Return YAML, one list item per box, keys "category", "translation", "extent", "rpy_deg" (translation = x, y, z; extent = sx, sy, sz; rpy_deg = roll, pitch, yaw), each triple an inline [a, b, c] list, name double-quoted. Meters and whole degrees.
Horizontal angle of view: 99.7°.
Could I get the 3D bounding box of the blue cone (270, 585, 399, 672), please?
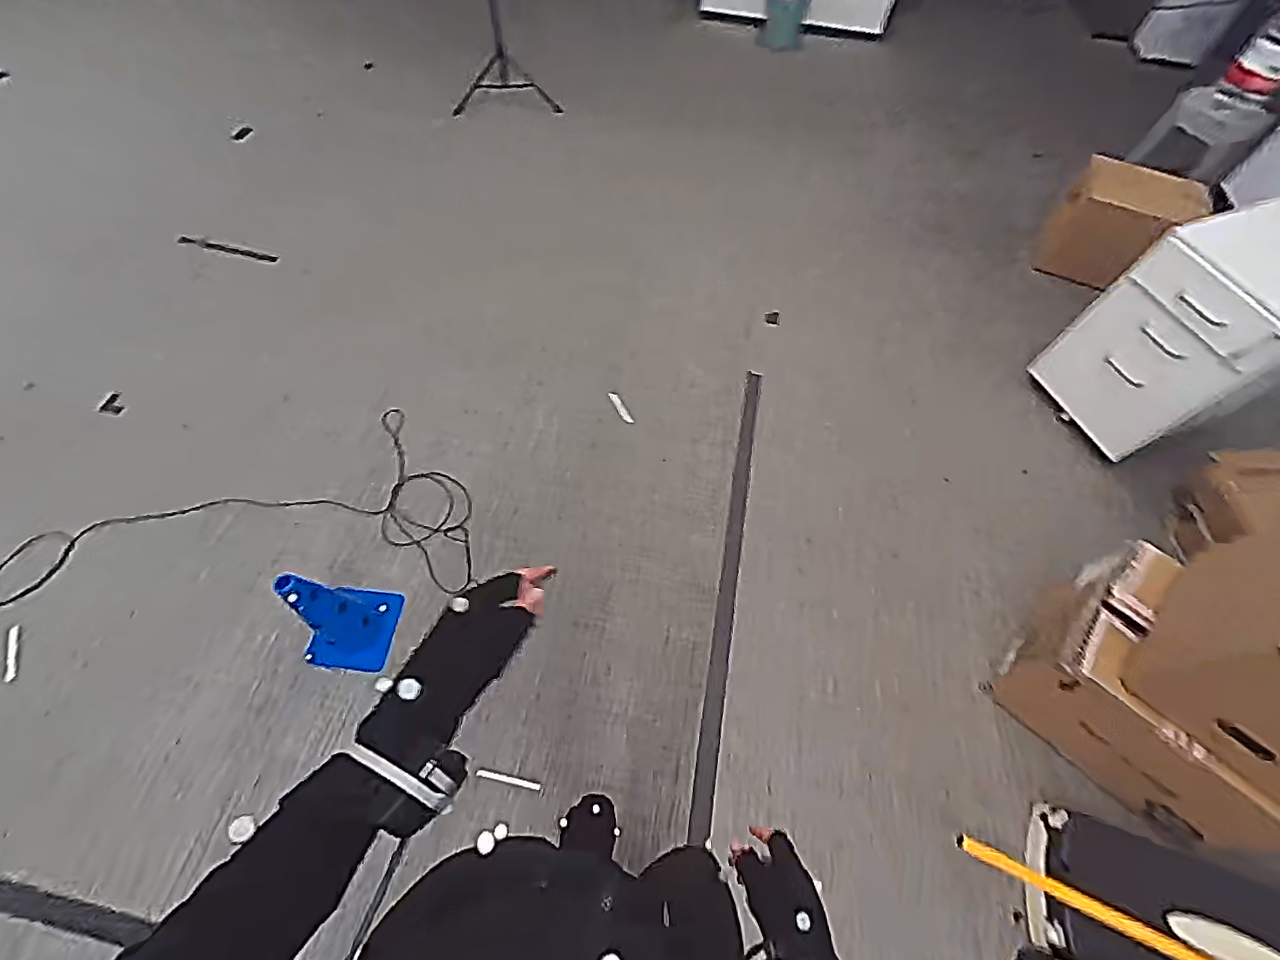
- category: "blue cone"
  translation: [-0.715, 0.303, 1.227]
  extent: [0.193, 0.380, 0.192]
  rpy_deg: [8, 61, 1]
